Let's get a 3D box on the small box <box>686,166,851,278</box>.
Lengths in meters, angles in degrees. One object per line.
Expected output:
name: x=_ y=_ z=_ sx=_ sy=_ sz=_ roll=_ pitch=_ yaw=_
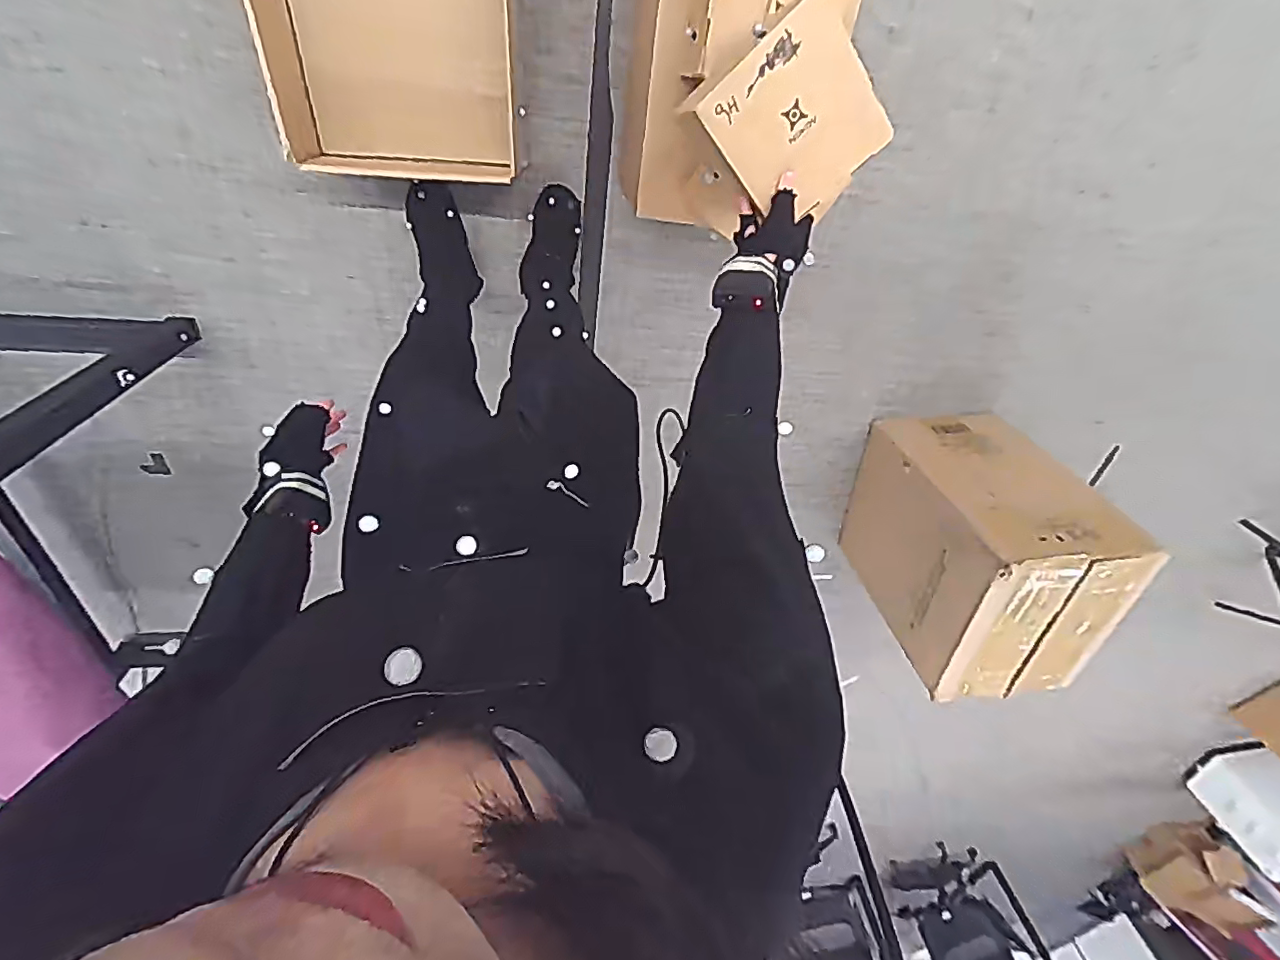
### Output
small box: x=0.194 y=-0.468 z=0.876 sx=0.168 sy=0.176 sz=0.179 roll=27 pitch=118 yaw=-24

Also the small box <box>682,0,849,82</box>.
small box: x=0.167 y=-0.640 z=0.749 sx=0.179 sy=0.176 sz=0.168 roll=4 pitch=128 yaw=-11

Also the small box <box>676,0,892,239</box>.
small box: x=0.166 y=-0.435 z=0.665 sx=0.168 sy=0.176 sz=0.179 roll=-37 pitch=118 yaw=15

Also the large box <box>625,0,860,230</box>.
large box: x=0.153 y=-0.710 z=0.999 sx=0.320 sy=0.320 sz=0.408 roll=2 pitch=126 yaw=-9
